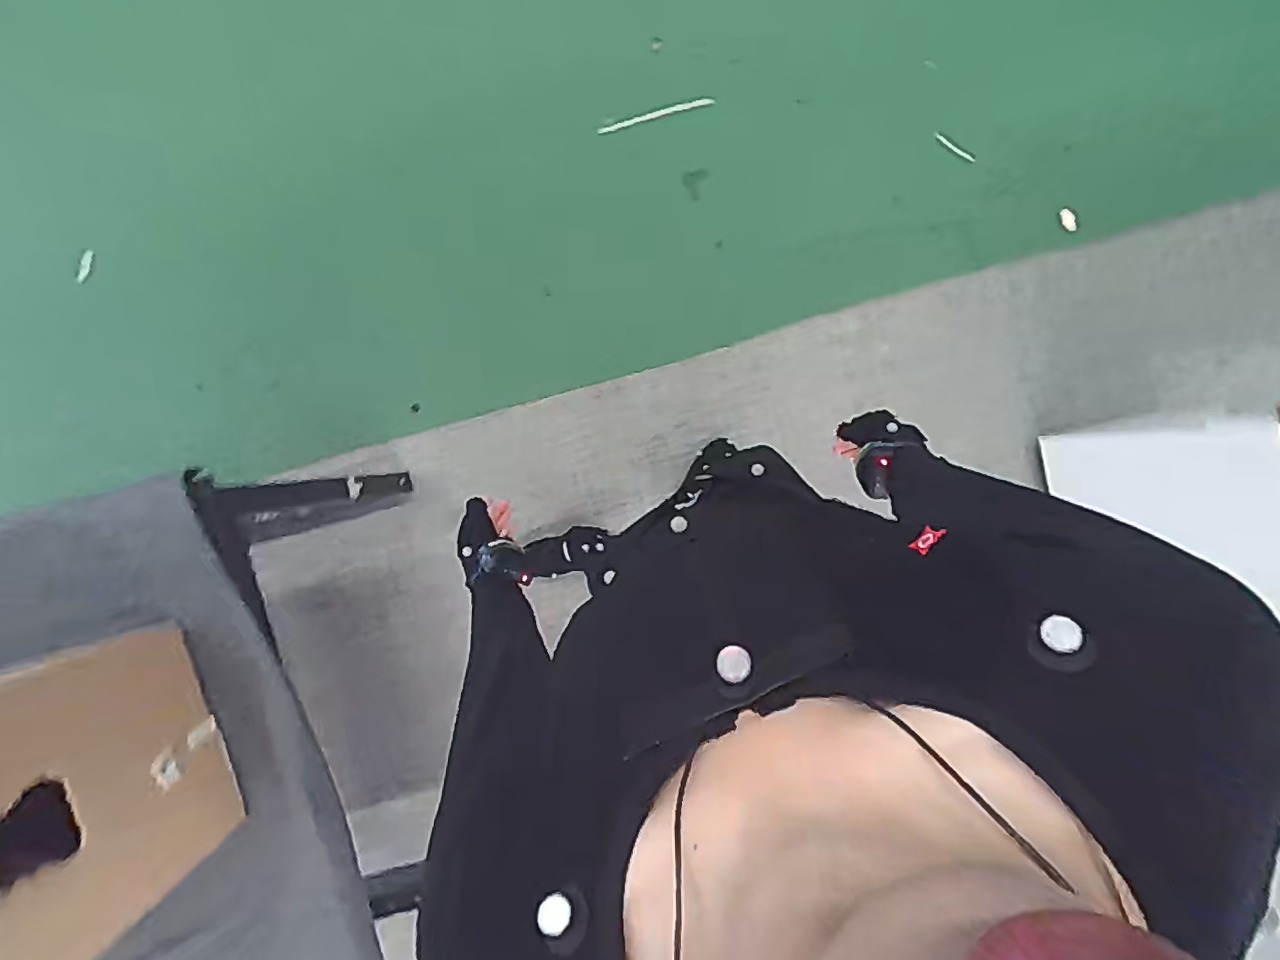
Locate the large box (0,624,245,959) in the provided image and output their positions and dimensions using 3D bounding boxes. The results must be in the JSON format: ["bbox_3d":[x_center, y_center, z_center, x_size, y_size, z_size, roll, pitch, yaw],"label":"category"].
[{"bbox_3d":[-0.806,0.414,0.641,0.408,0.320,0.320,-17,92,2],"label":"large box"}]
